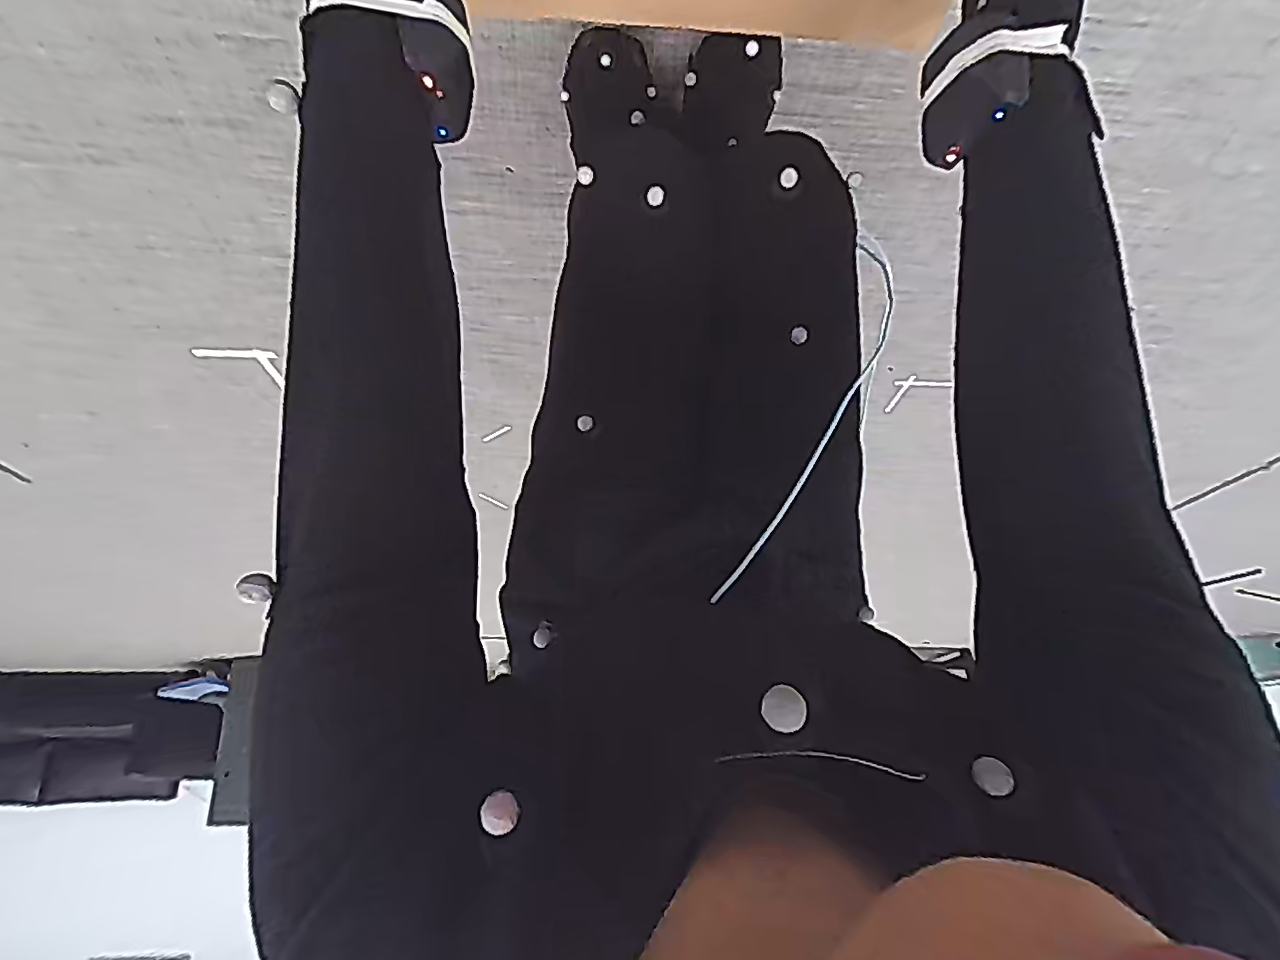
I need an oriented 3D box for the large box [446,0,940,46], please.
[{"bbox_3d":[0.045,-0.576,0.396,0.408,0.320,0.320,1,150,-3],"label":"large box"}]
